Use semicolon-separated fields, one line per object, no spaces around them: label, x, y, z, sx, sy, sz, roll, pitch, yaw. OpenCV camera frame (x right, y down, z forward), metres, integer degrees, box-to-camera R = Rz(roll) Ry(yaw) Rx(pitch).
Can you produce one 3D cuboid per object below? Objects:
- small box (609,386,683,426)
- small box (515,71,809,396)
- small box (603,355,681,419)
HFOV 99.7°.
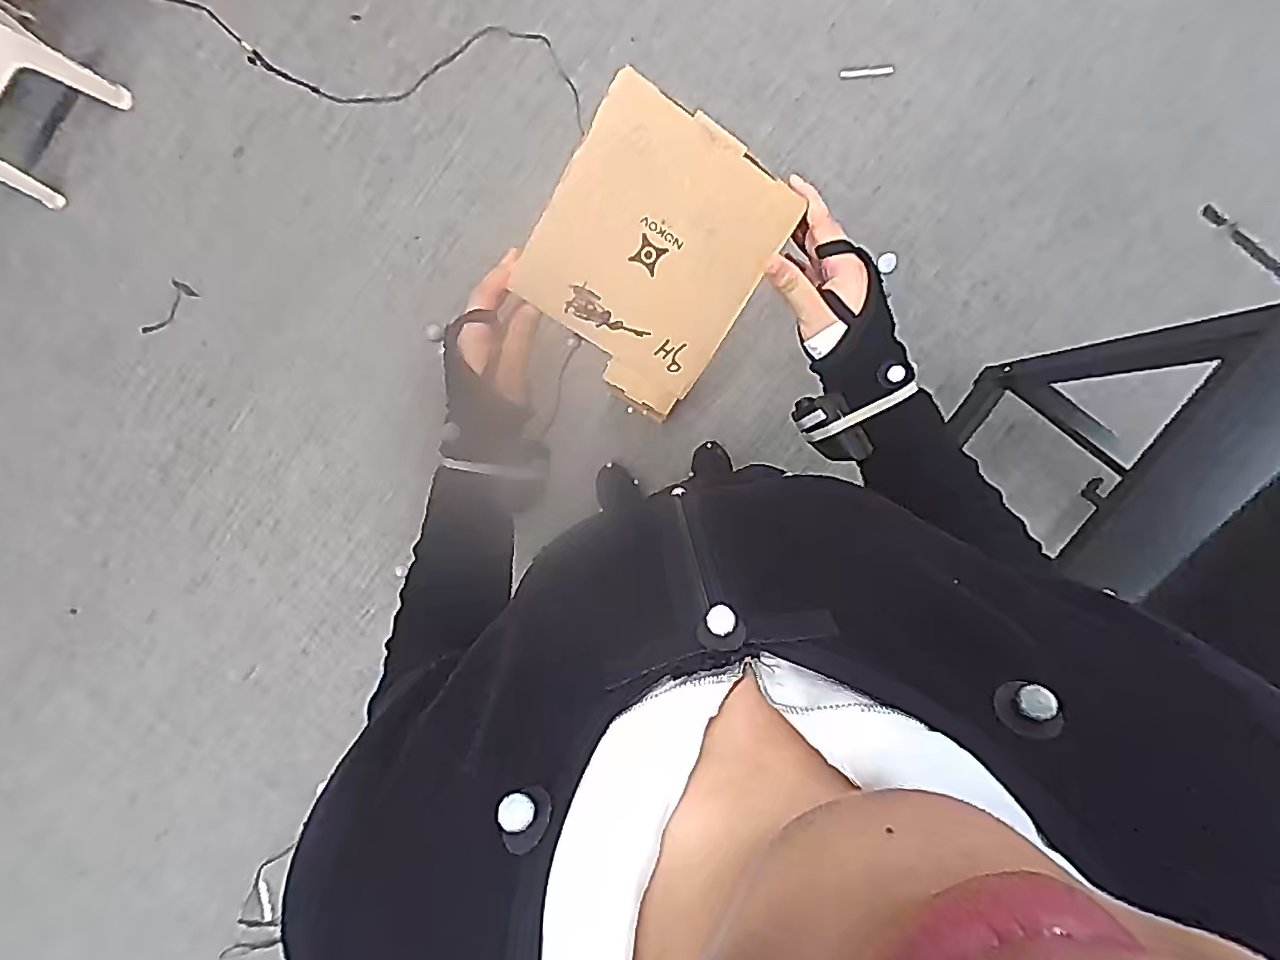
small box;0.037;-0.257;1.405;0.168;0.176;0.179;34;95;0
small box;0.012;-0.198;0.487;0.168;0.176;0.179;32;101;-9
small box;0.034;-0.253;1.242;0.168;0.176;0.179;30;93;-1
